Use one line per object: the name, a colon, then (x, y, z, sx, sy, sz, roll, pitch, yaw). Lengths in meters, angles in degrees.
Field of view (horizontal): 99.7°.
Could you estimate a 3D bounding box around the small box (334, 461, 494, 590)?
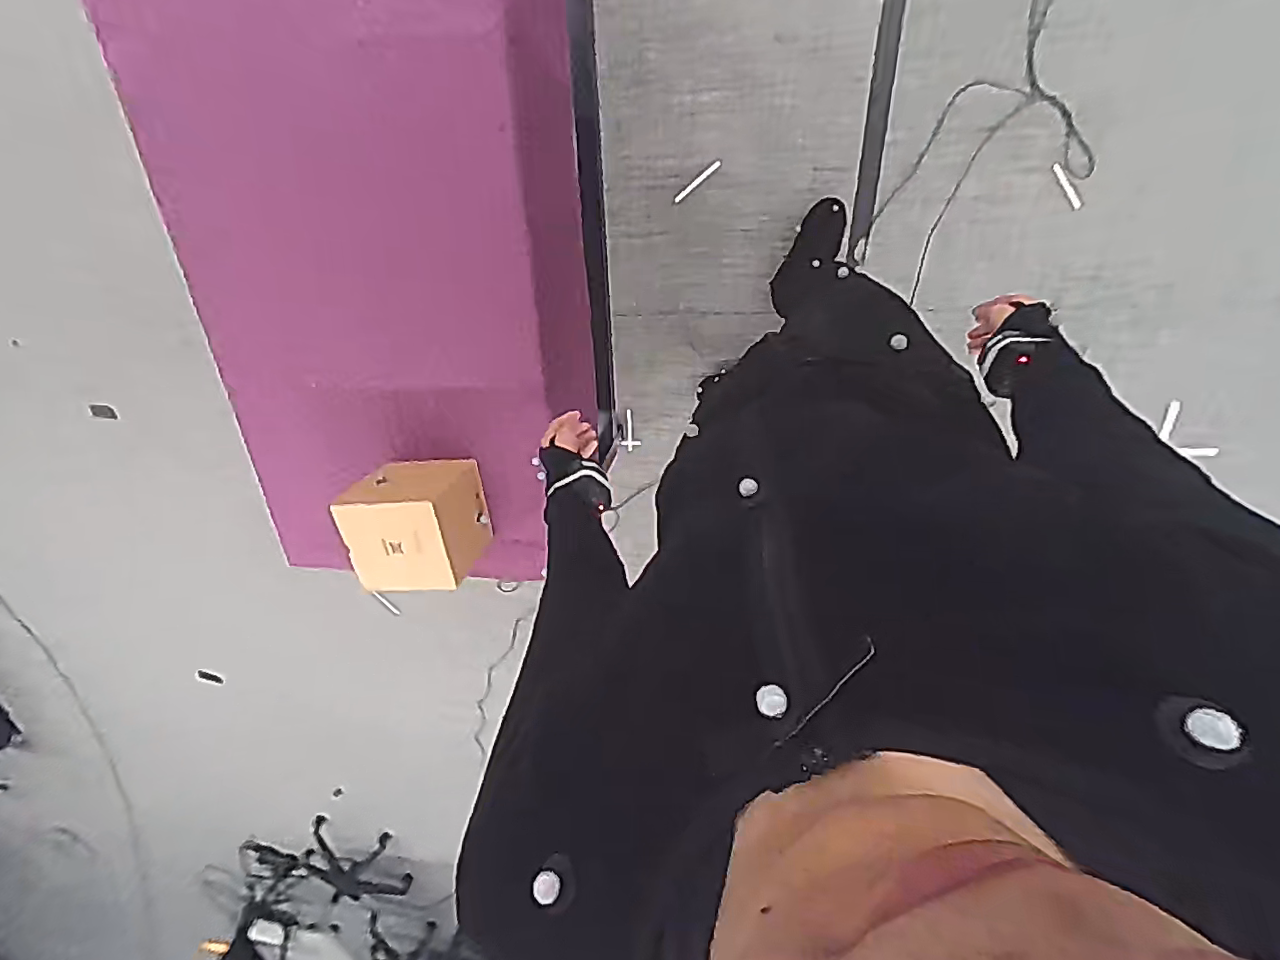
small box: (-0.380, 0.073, 0.940, 0.179, 0.176, 0.168, -2, 115, 10)
